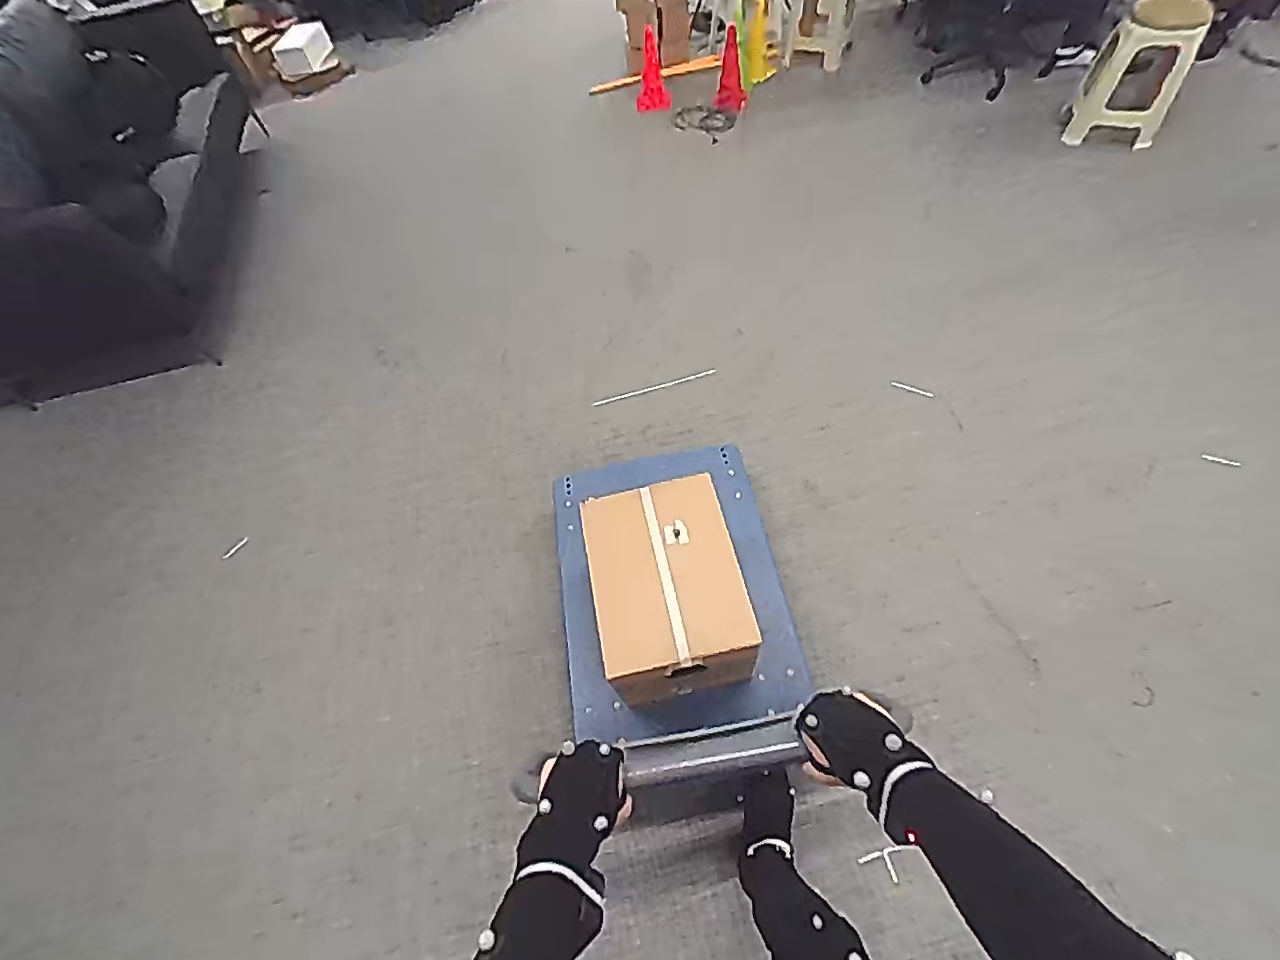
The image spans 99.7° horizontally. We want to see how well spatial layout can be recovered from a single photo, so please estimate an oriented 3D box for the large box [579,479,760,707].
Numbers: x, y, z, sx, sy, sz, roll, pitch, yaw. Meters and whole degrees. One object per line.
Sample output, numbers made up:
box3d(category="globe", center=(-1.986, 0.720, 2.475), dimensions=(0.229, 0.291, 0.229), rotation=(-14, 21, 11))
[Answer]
box3d(category="large box", center=(0.068, 0.273, 1.281), dimensions=(0.320, 0.320, 0.408), rotation=(-14, 57, 0))
